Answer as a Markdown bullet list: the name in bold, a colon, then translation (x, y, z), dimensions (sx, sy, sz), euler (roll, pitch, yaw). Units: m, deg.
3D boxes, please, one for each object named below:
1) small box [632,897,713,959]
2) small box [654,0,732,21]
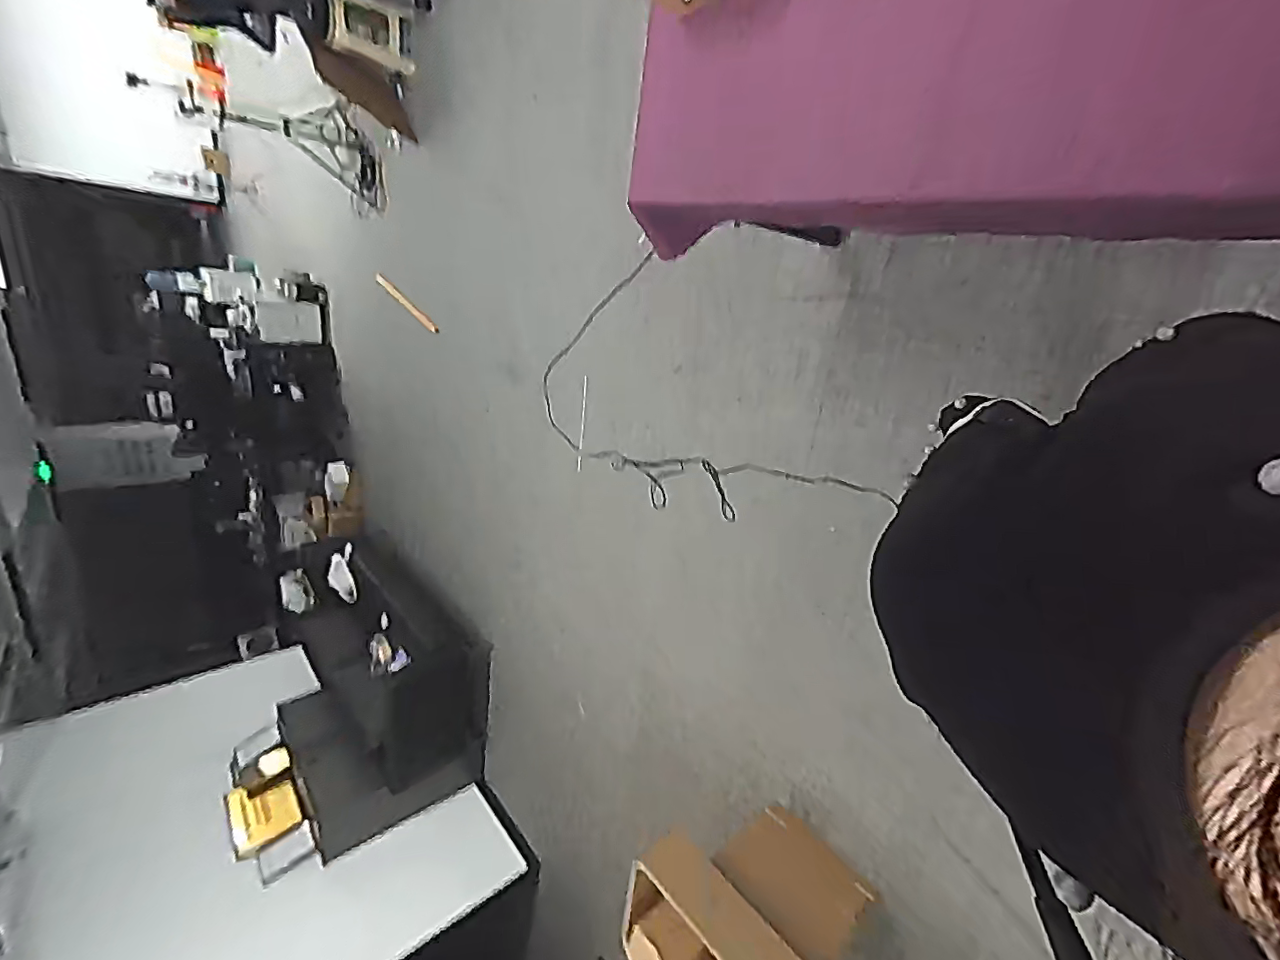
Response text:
- **small box**: translation (0.104, 1.455, 1.676), dimensions (0.168, 0.176, 0.179), euler (34, 121, 40)
- **small box**: translation (0.075, -0.873, 0.839), dimensions (0.168, 0.176, 0.179), euler (20, 113, 45)
